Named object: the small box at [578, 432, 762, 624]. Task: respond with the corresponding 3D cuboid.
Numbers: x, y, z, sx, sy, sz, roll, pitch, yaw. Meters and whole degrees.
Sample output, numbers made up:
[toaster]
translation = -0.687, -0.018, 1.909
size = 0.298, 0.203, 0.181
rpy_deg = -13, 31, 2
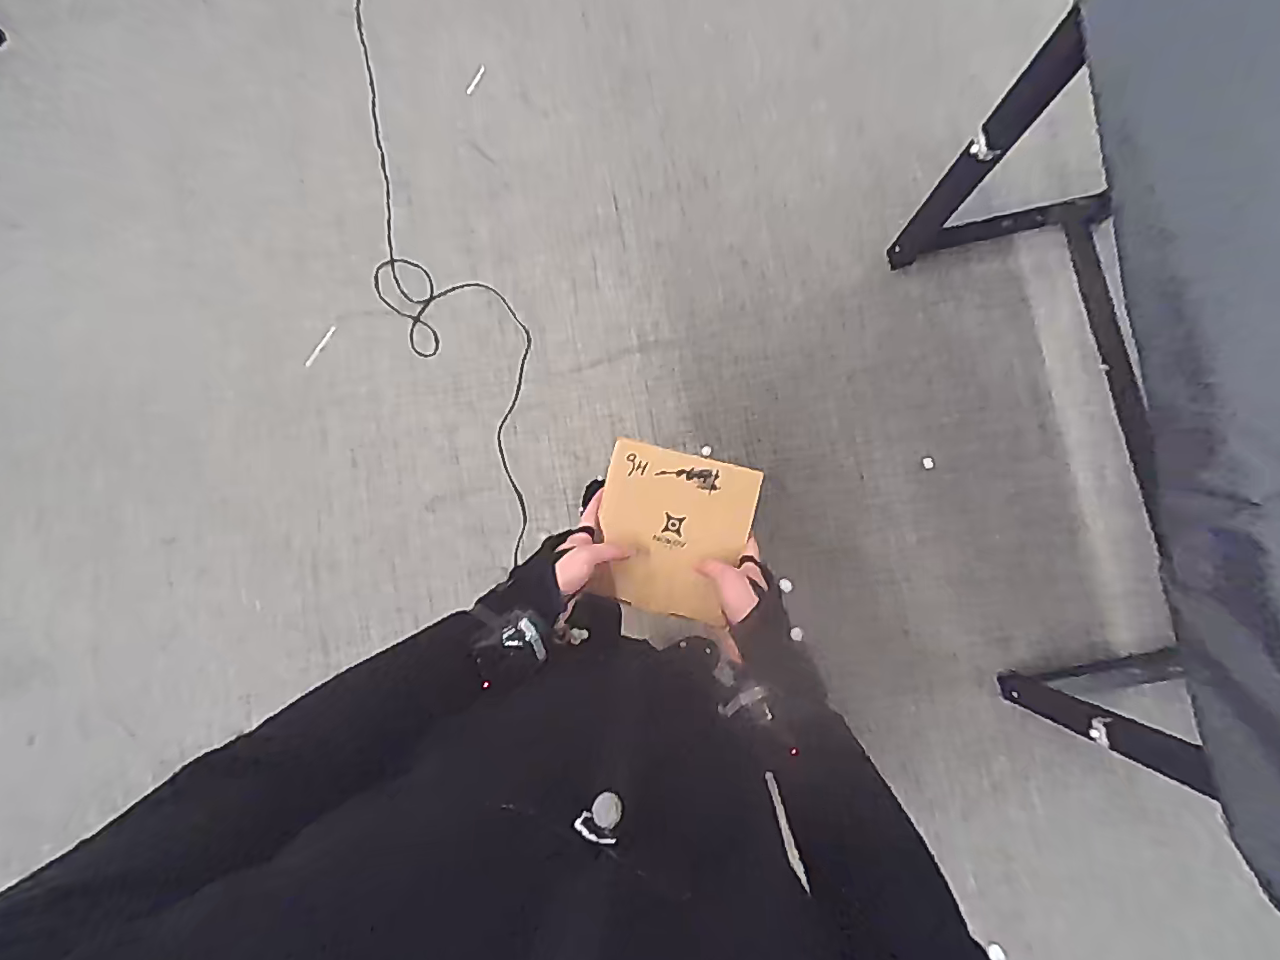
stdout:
[small box]
translation = 0.035, 0.049, 0.654
size = 0.168, 0.176, 0.179
rpy_deg = 14, 92, 2
